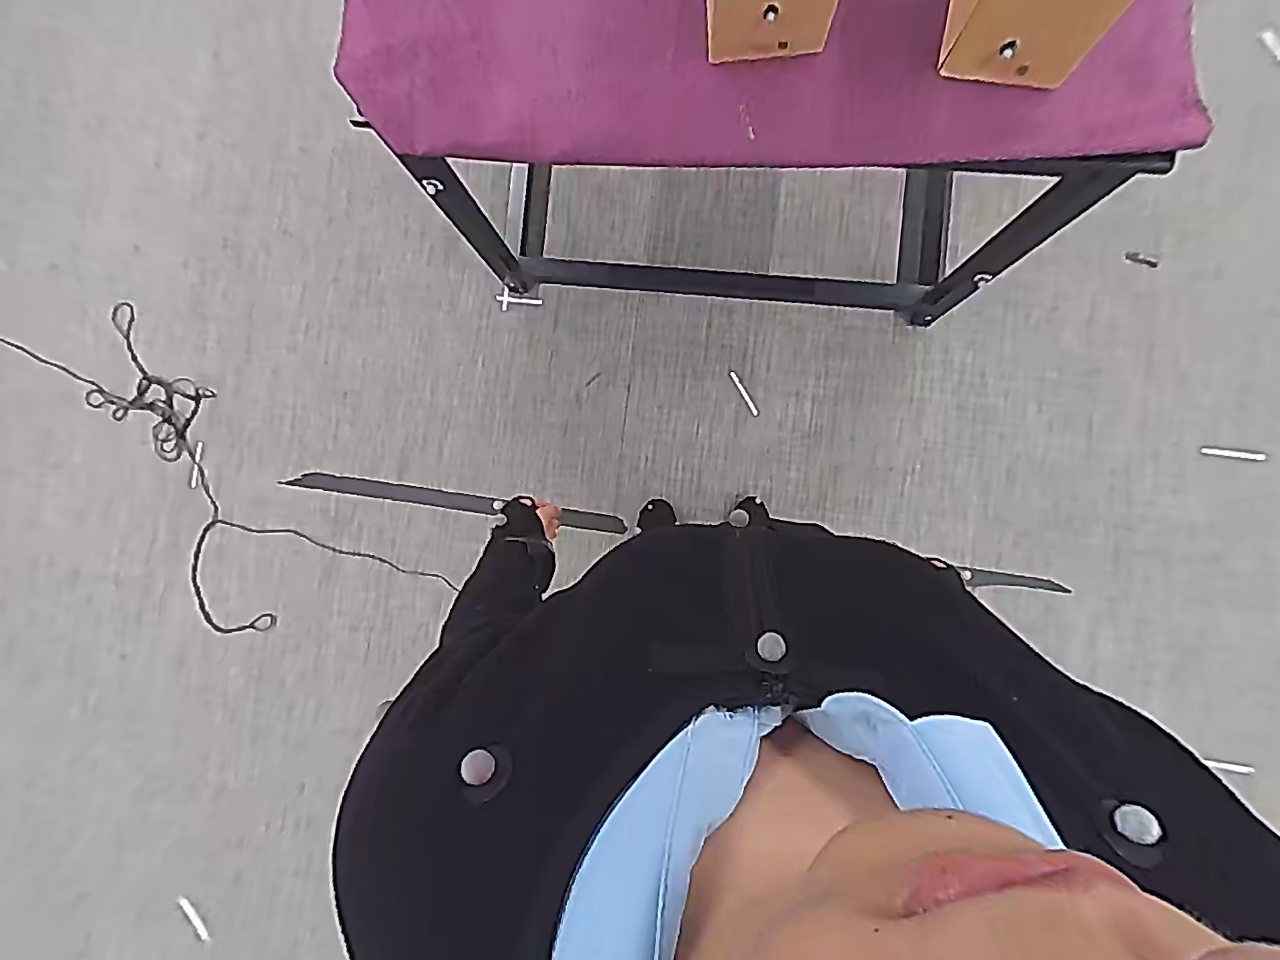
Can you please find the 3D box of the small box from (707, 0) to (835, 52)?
[{"bbox_3d":[0.177,-0.711,0.717,0.168,0.176,0.179,-2,87,4],"label":"small box"}]

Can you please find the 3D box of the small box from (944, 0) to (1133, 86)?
[{"bbox_3d":[0.518,-0.658,0.689,0.168,0.176,0.179,11,88,5],"label":"small box"}]
